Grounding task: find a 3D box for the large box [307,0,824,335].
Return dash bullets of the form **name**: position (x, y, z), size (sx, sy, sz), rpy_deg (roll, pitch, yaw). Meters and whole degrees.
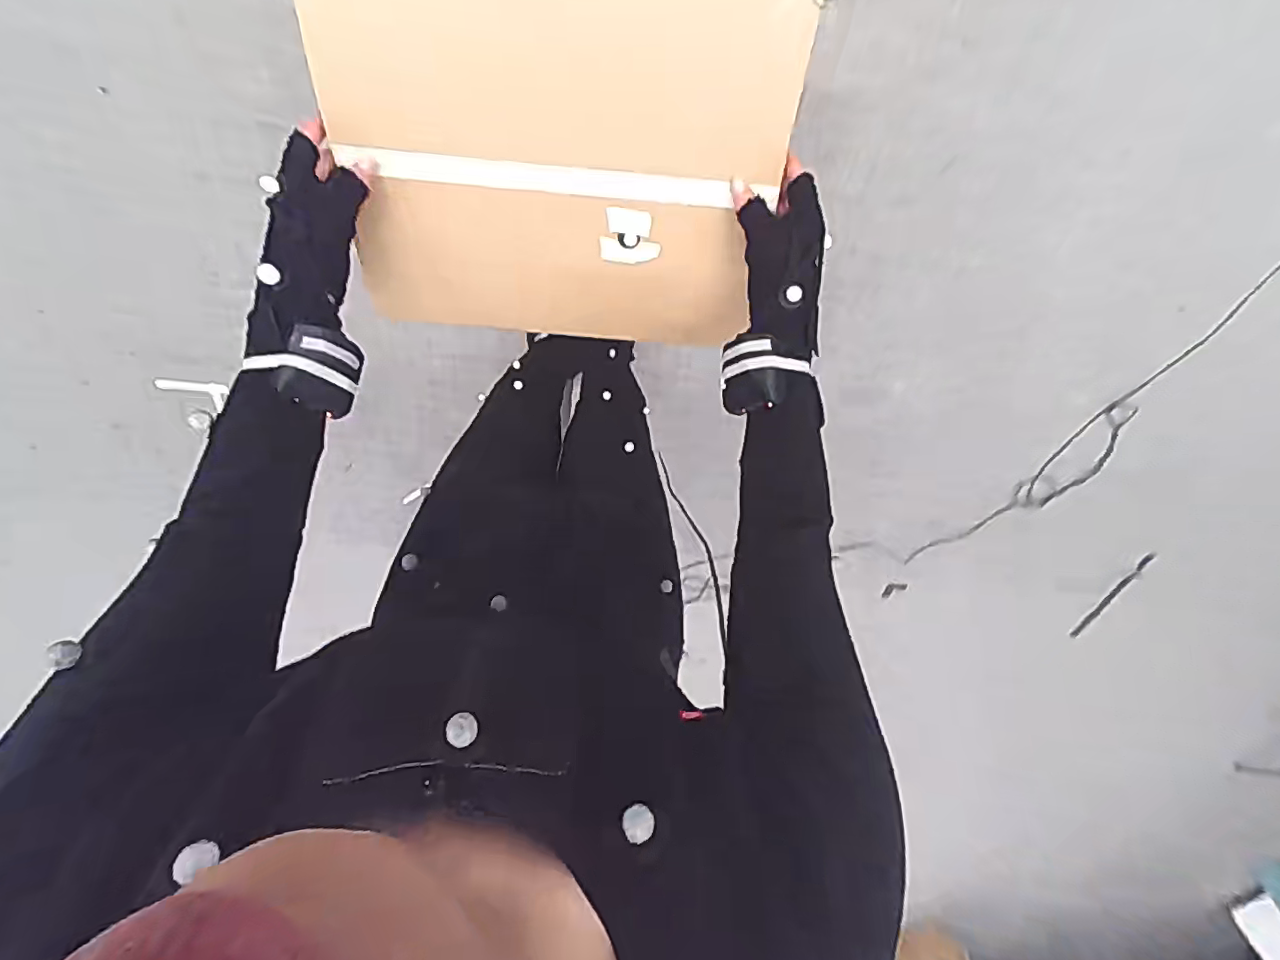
- **large box**: position (-0.068, -0.379, 0.600), size (0.408, 0.320, 0.320), rpy_deg (3, 131, -3)
